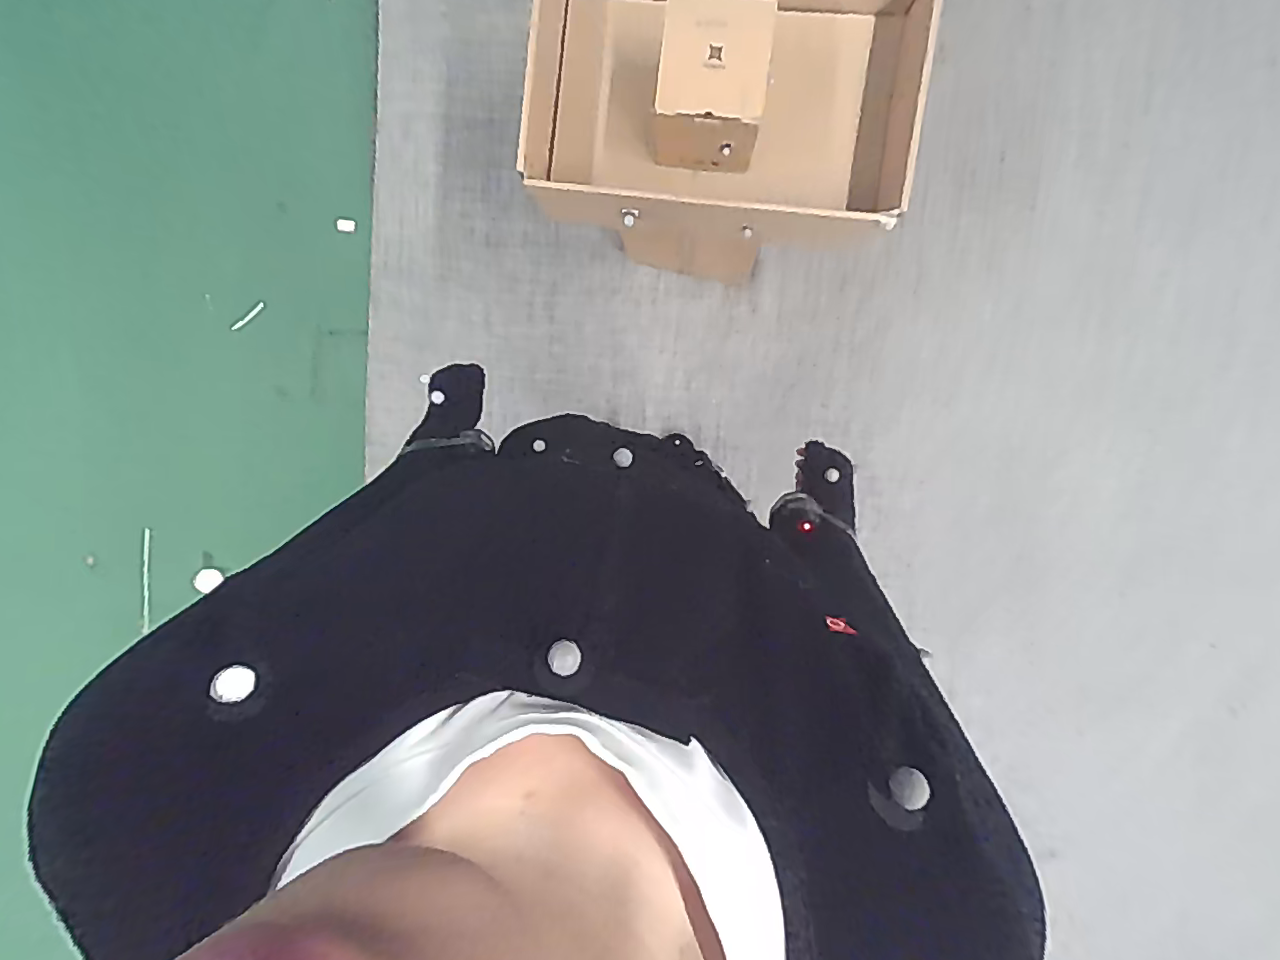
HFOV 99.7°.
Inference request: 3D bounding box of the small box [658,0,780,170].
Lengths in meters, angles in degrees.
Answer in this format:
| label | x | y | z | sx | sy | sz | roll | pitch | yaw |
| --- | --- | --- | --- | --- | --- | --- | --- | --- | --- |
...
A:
| label | x | y | z | sx | sy | sz | roll | pitch | yaw |
| --- | --- | --- | --- | --- | --- | --- | --- | --- | --- |
| small box | 0.122 | -0.641 | 0.889 | 0.168 | 0.176 | 0.179 | 6 | 93 | 2 |
